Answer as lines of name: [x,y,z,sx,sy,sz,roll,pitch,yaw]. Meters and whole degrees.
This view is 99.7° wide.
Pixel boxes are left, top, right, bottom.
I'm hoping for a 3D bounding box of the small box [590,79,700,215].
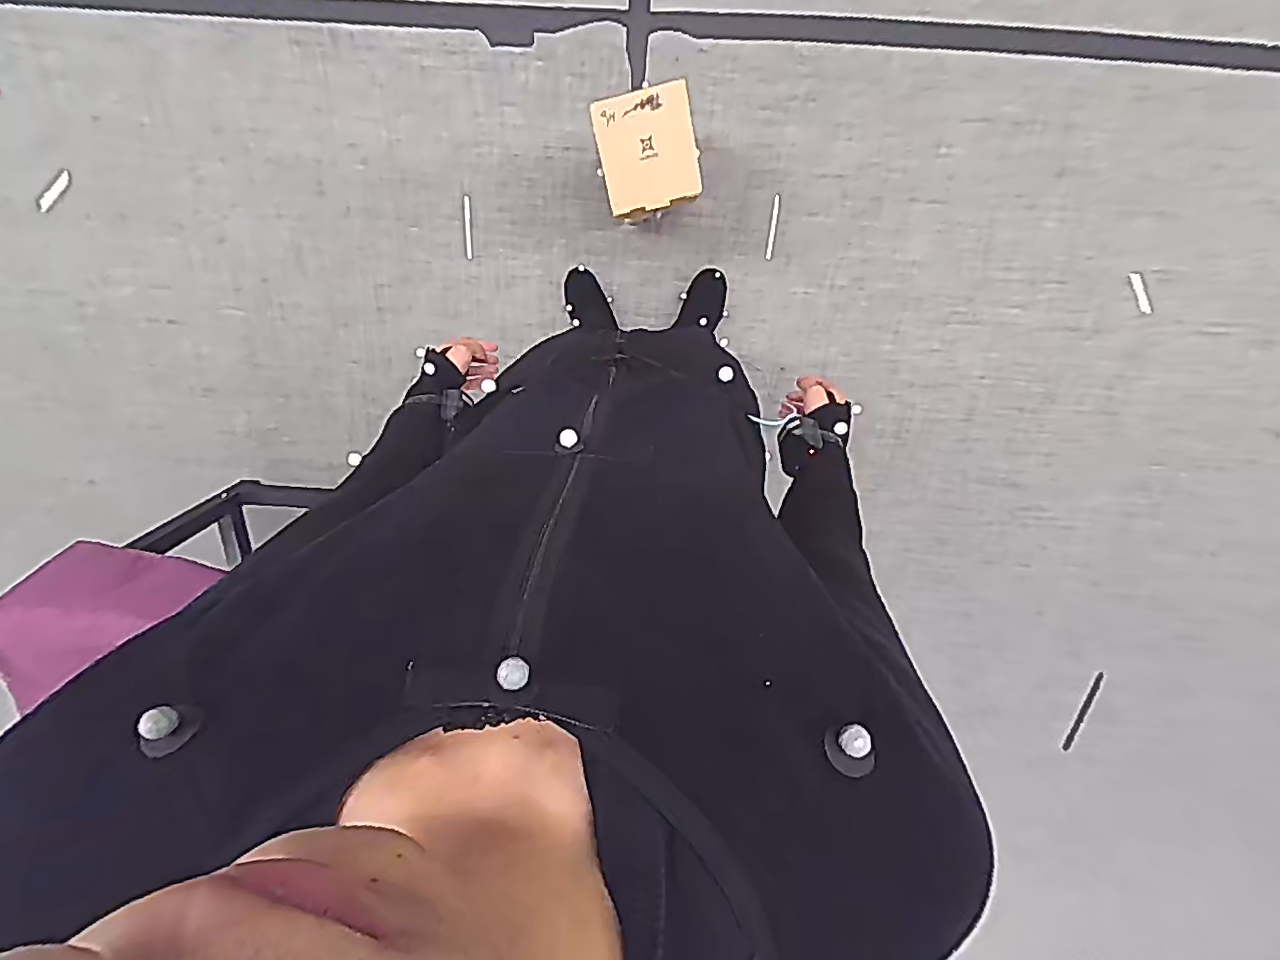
small box: [0.014,-0.602,1.002,0.168,0.176,0.179,-11,114,5]
